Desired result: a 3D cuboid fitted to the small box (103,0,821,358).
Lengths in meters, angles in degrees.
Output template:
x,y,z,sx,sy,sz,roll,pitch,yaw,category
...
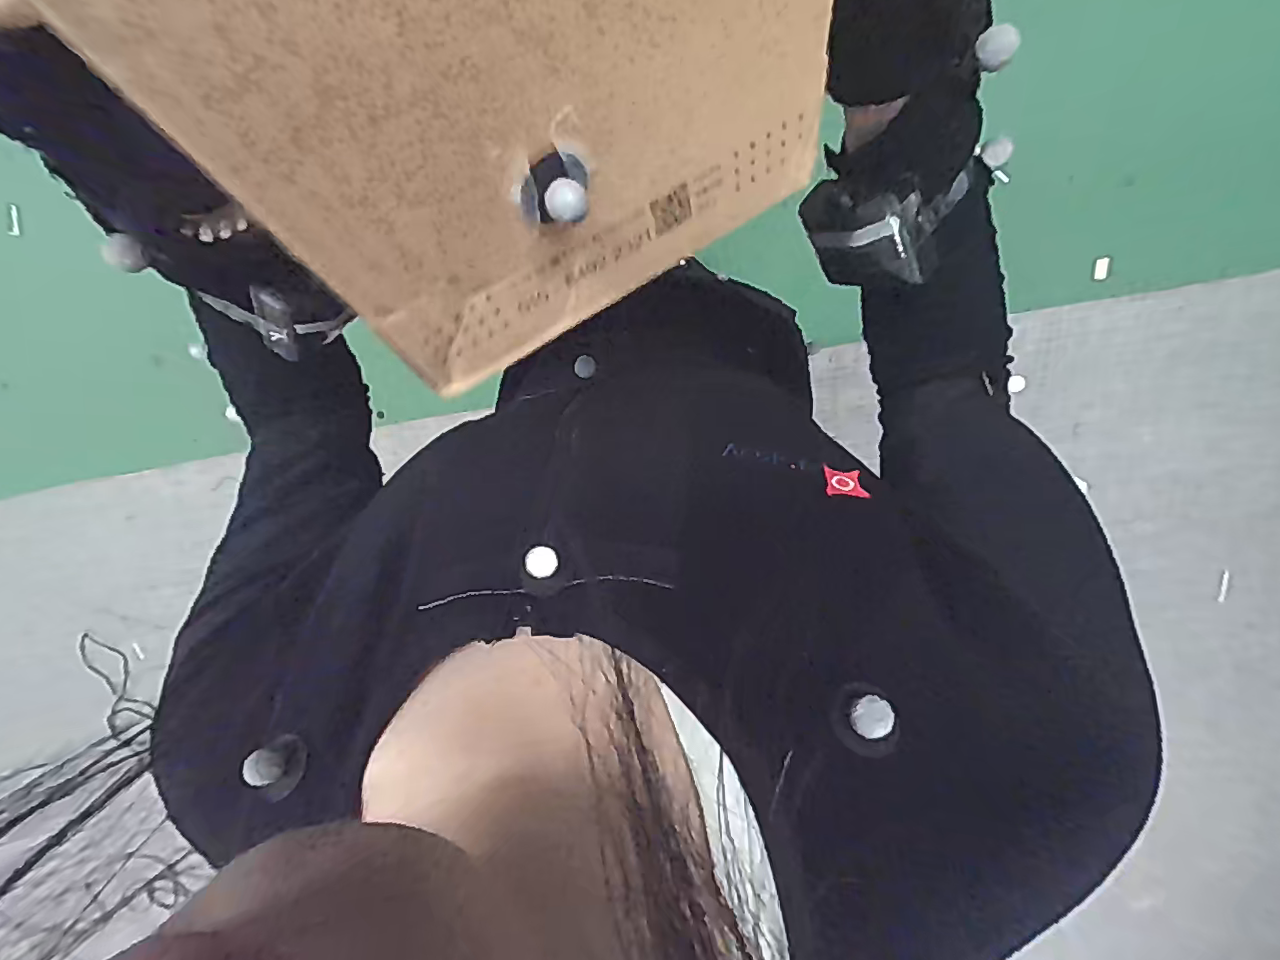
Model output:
x,y,z,sx,sy,sz,roll,pitch,yaw,category
-0.059,-0.174,0.168,0.168,0.176,0.179,-31,71,0,small box
